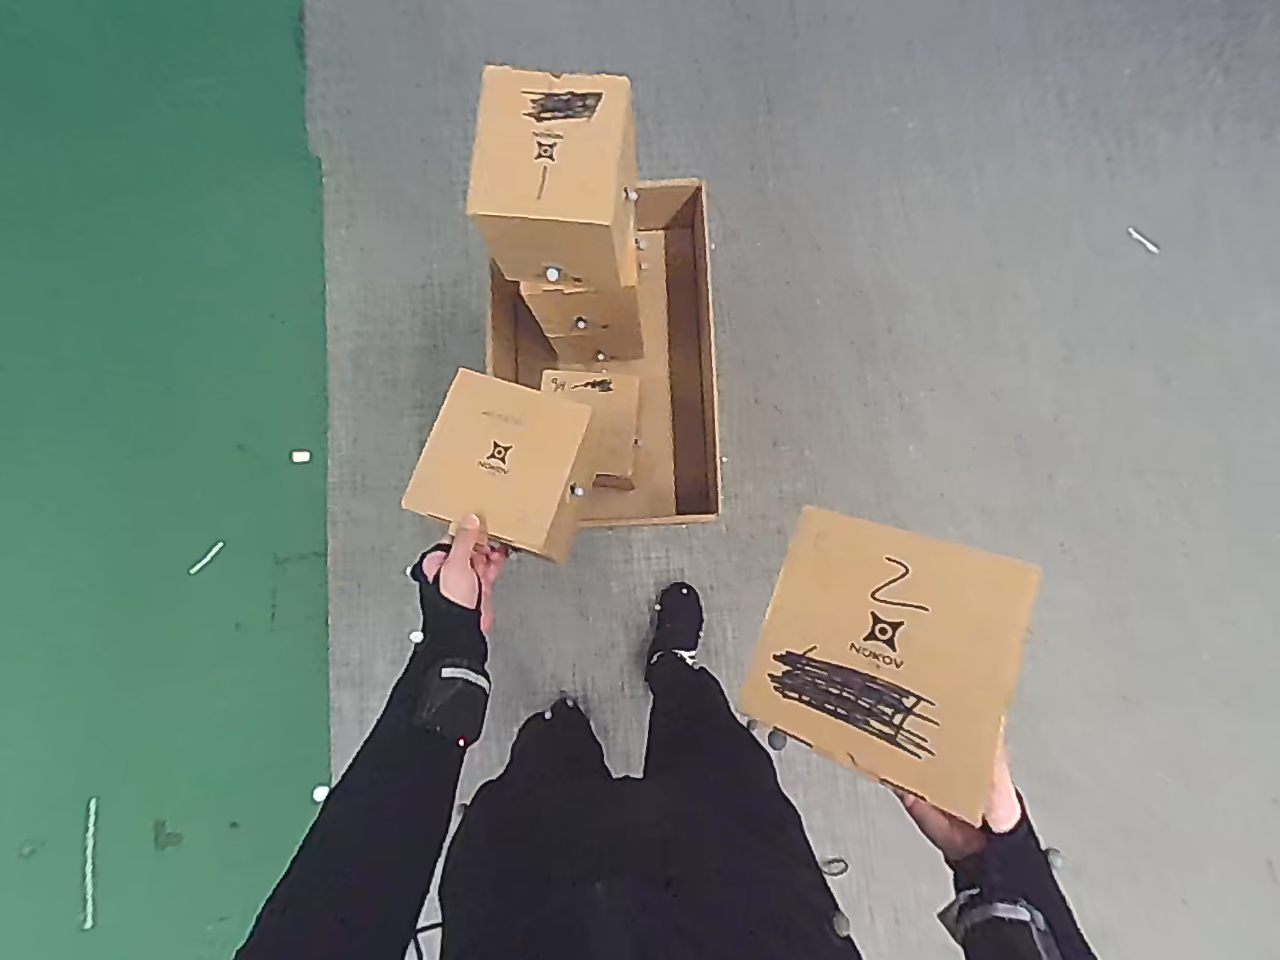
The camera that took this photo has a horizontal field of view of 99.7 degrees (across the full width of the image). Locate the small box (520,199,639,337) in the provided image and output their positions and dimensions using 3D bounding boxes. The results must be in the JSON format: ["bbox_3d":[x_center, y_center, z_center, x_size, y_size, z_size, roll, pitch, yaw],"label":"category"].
[{"bbox_3d":[-0.089,-0.342,0.847,0.168,0.176,0.179,-4,85,2],"label":"small box"}]

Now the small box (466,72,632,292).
[{"bbox_3d":[-0.101,-0.363,0.684,0.168,0.176,0.179,6,85,3],"label":"small box"}]

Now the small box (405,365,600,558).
[{"bbox_3d":[-0.155,-0.011,0.681,0.168,0.176,0.179,18,75,5],"label":"small box"}]

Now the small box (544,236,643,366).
[{"bbox_3d":[-0.082,-0.327,1.008,0.168,0.176,0.179,-3,84,3],"label":"small box"}]
